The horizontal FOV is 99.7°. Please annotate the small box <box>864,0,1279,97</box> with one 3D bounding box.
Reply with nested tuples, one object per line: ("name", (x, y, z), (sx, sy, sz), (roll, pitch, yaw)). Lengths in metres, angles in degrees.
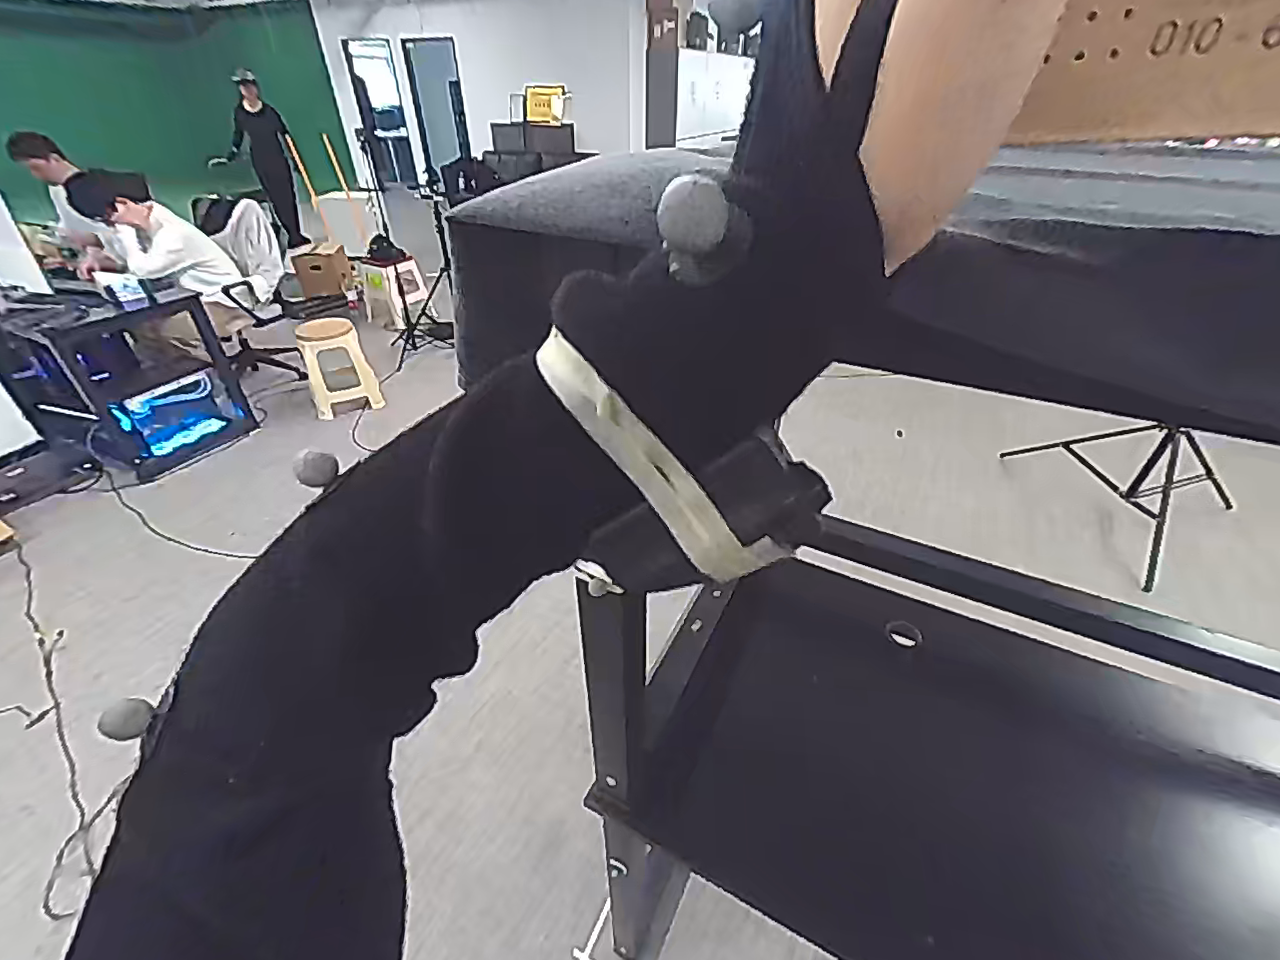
("small box", (0.156, -0.195, 0.115), (0.168, 0.176, 0.179), (4, 45, 10))
